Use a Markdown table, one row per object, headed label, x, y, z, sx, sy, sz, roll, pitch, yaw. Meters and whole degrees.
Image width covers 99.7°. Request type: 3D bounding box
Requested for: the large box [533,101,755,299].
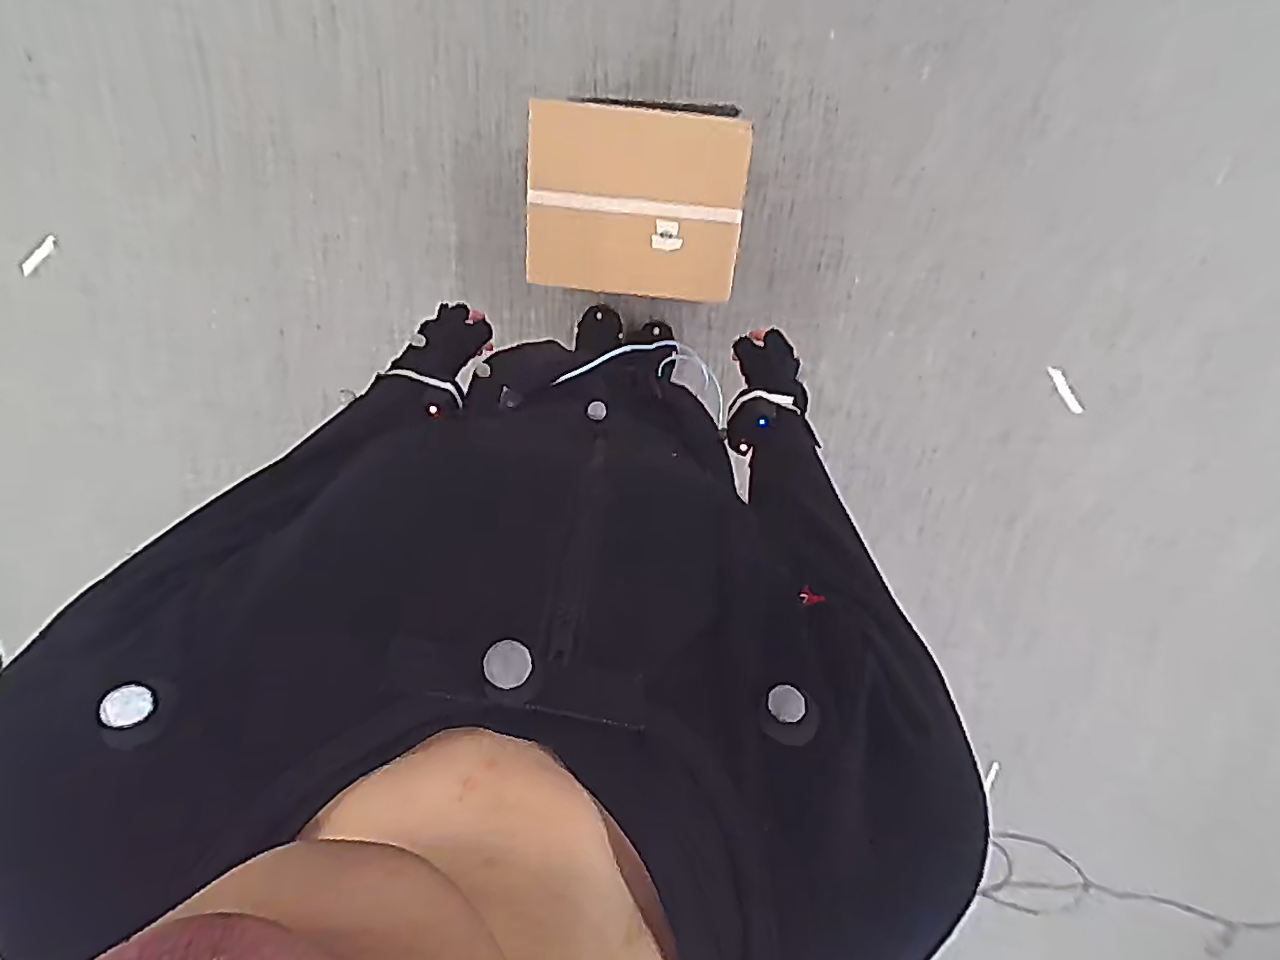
| label | x | y | z | sx | sy | sz | roll | pitch | yaw |
| --- | --- | --- | --- | --- | --- | --- | --- | --- | --- |
| large box | -0.002 | -0.571 | 1.161 | 0.408 | 0.320 | 0.320 | 6 | 111 | -1 |
